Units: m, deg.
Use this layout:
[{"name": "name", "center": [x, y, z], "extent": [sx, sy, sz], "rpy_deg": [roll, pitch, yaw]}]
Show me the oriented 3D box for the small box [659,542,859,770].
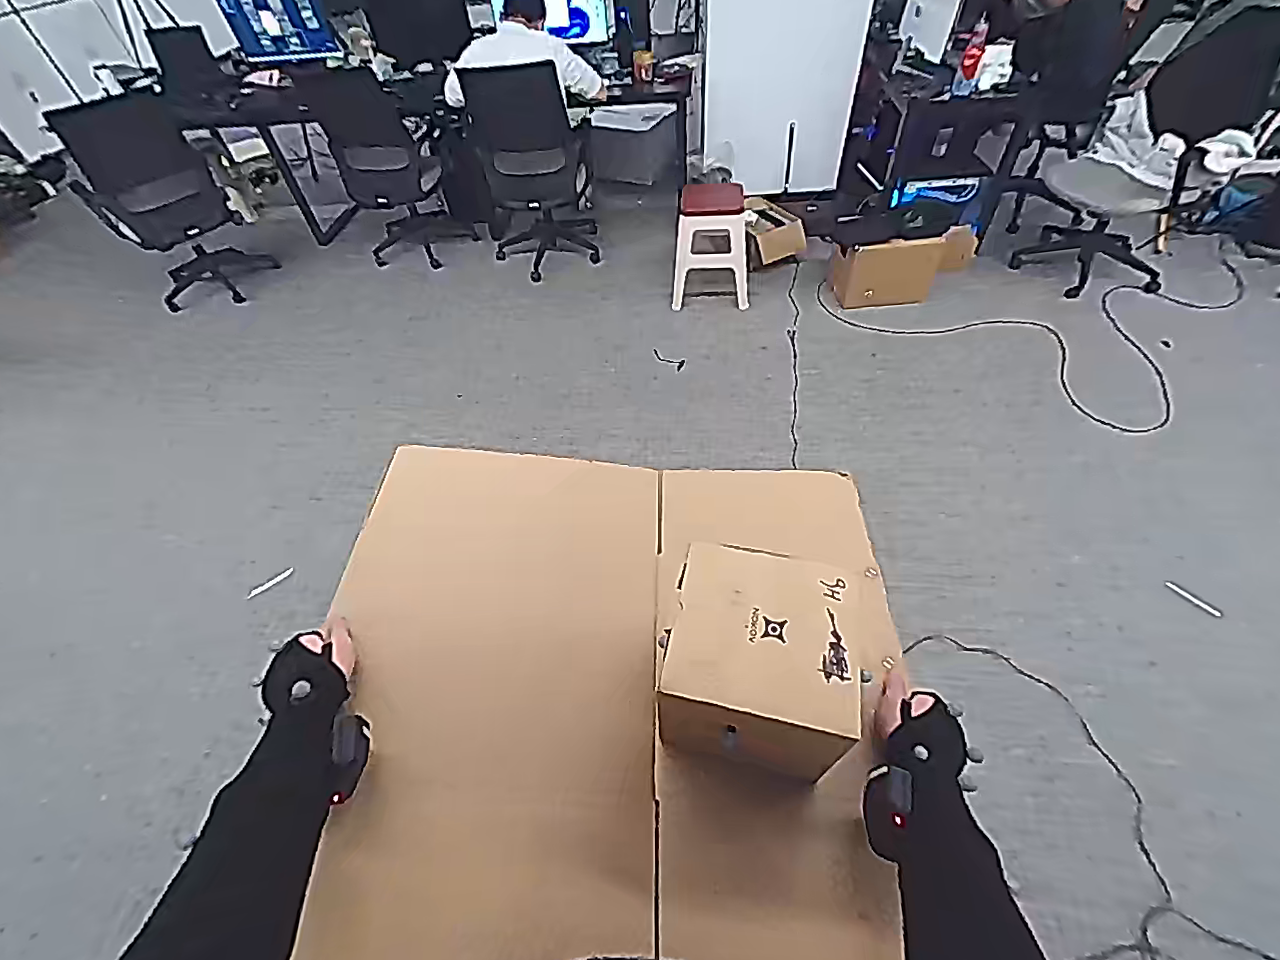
[{"name": "small box", "center": [0.125, 0.191, 0.582], "extent": [0.179, 0.176, 0.168], "rpy_deg": [9, 52, 11]}]
